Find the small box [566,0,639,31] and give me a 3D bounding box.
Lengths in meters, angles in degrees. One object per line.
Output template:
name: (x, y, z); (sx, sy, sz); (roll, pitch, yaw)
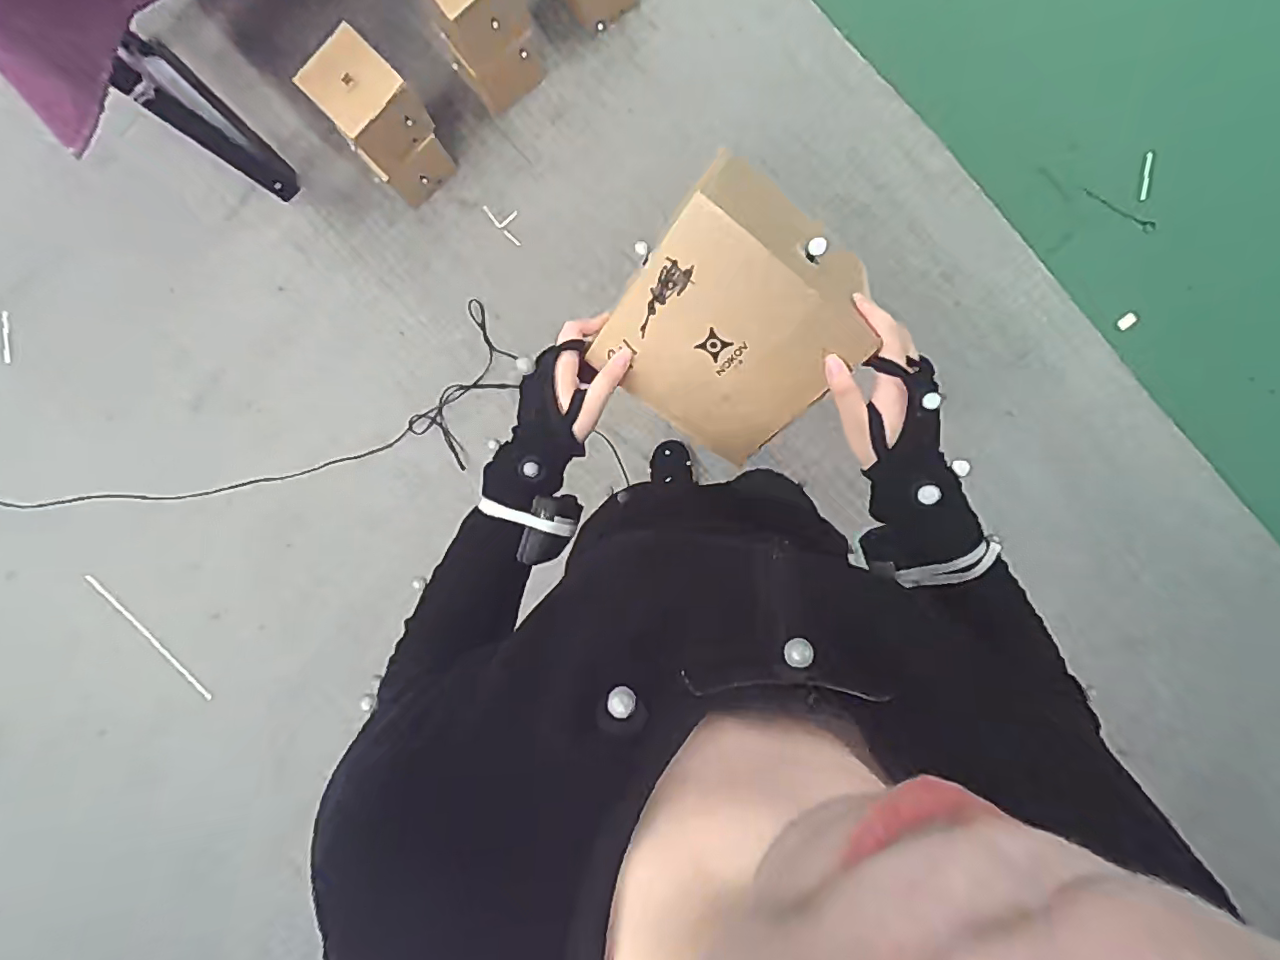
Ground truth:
small box: (-0.112, -1.271, 1.337); (0.168, 0.176, 0.179); (-34, 92, 2)
